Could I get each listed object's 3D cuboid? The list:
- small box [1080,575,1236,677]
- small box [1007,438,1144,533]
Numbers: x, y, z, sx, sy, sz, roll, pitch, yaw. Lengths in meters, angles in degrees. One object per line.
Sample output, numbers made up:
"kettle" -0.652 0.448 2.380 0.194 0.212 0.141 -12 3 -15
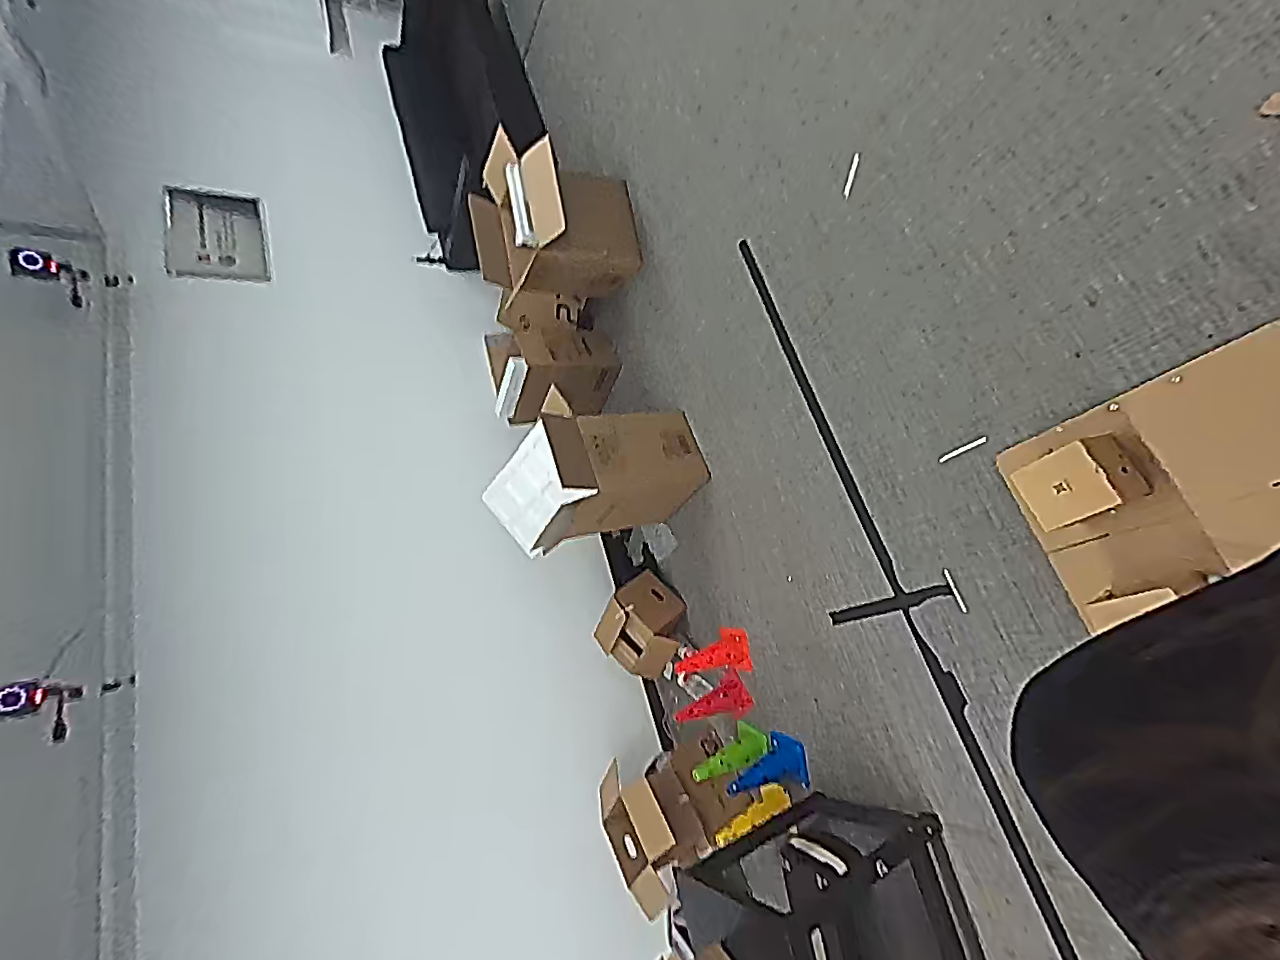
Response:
"small box" 1.152 0.324 1.206 0.179 0.176 0.168 -44 59 52
"small box" 1.056 0.013 1.314 0.179 0.176 0.168 -49 55 51
